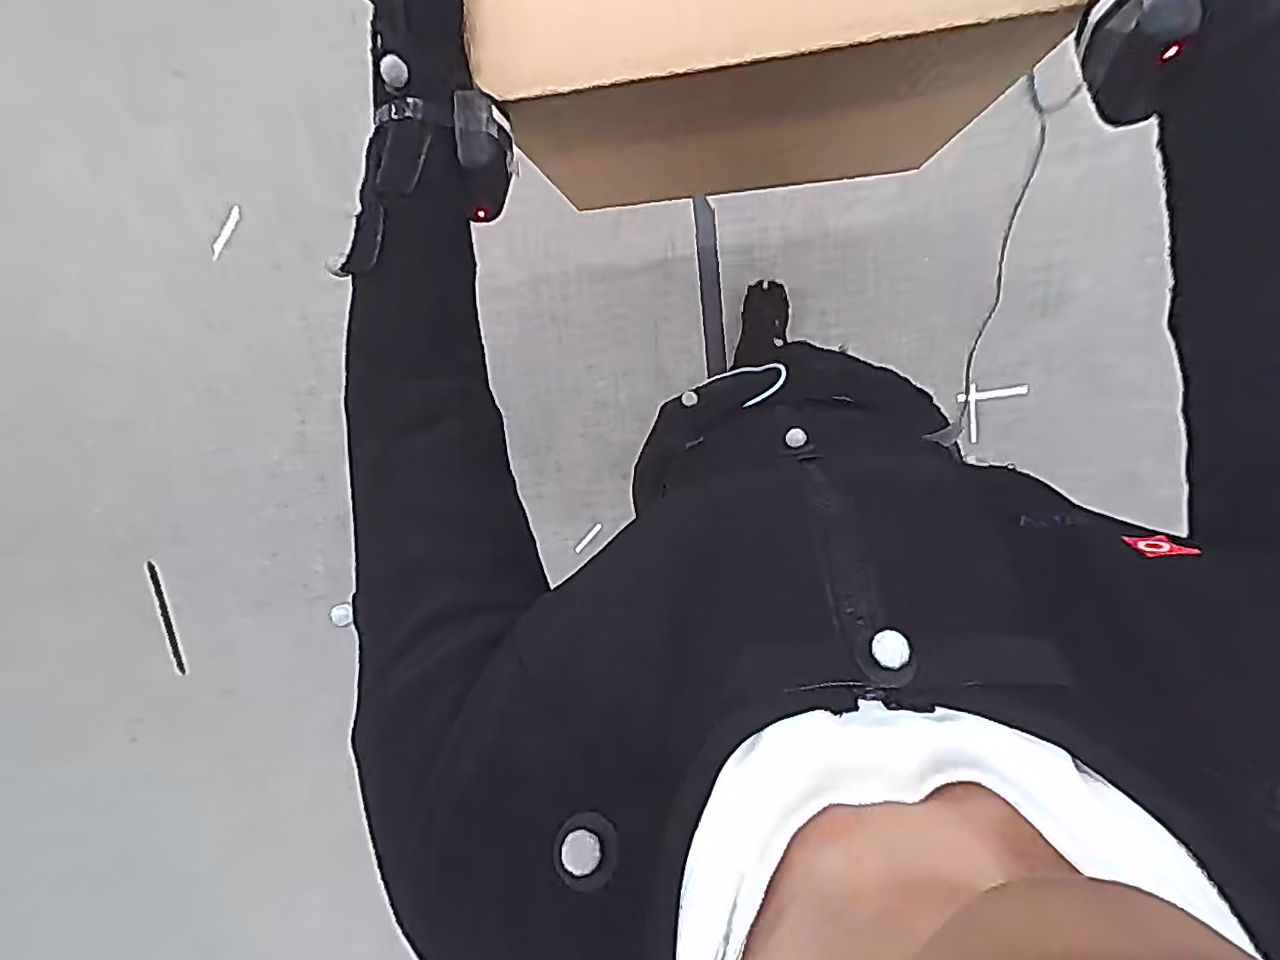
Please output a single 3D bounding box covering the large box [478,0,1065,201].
[{"bbox_3d":[0.088,-0.474,0.471,0.408,0.320,0.320,-4,104,7],"label":"large box"}]
